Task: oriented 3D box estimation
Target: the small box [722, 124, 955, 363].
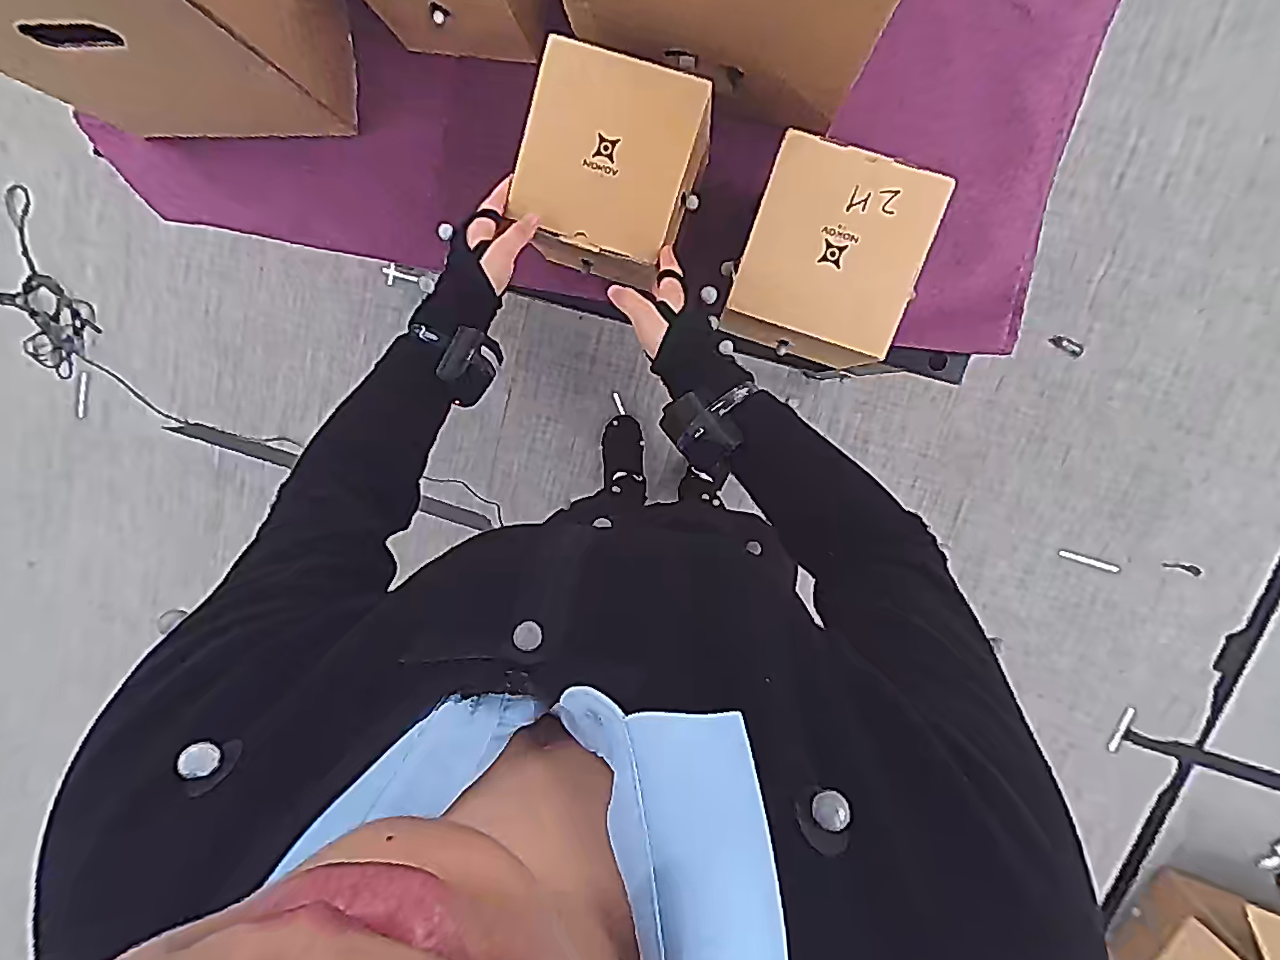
[{"bbox_3d":[0.196,-0.237,0.592,0.168,0.176,0.179,20,99,3],"label":"small box"}]
